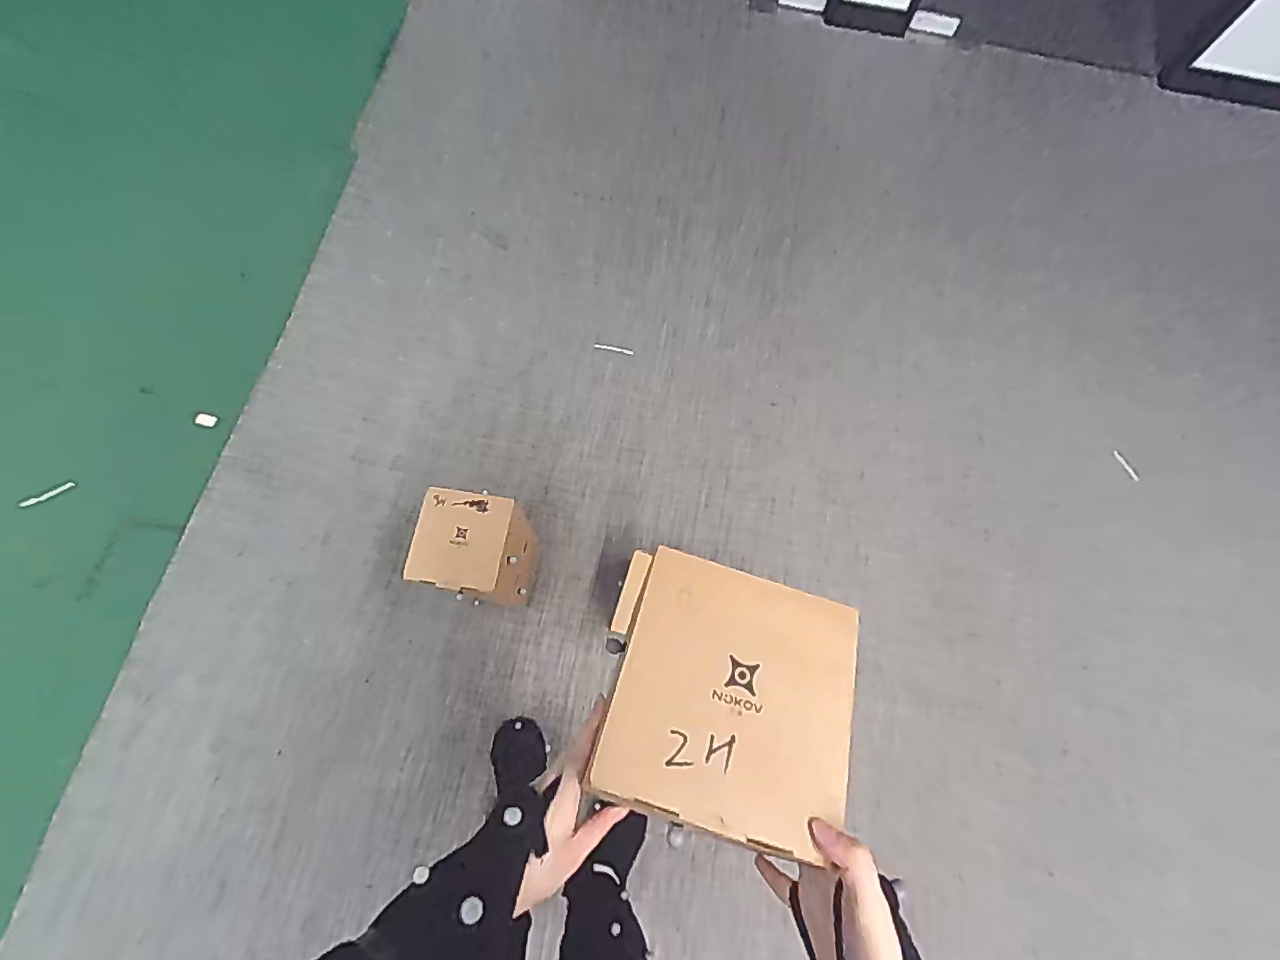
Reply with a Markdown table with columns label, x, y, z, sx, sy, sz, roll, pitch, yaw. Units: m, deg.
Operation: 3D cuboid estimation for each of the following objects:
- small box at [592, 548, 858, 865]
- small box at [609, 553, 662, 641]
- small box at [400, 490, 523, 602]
| label | x | y | z | sx | sy | sz | roll | pitch | yaw |
| --- | --- | --- | --- | --- | --- | --- | --- | --- | --- |
| small box | 0.062 | 0.188 | 0.454 | 0.168 | 0.176 | 0.179 | 17 | 59 | 2 |
| small box | 0.032 | 0.279 | 1.194 | 0.168 | 0.176 | 0.179 | 18 | 73 | 2 |
| small box | -0.330 | 0.135 | 1.042 | 0.168 | 0.176 | 0.179 | 9 | 73 | -1 |
